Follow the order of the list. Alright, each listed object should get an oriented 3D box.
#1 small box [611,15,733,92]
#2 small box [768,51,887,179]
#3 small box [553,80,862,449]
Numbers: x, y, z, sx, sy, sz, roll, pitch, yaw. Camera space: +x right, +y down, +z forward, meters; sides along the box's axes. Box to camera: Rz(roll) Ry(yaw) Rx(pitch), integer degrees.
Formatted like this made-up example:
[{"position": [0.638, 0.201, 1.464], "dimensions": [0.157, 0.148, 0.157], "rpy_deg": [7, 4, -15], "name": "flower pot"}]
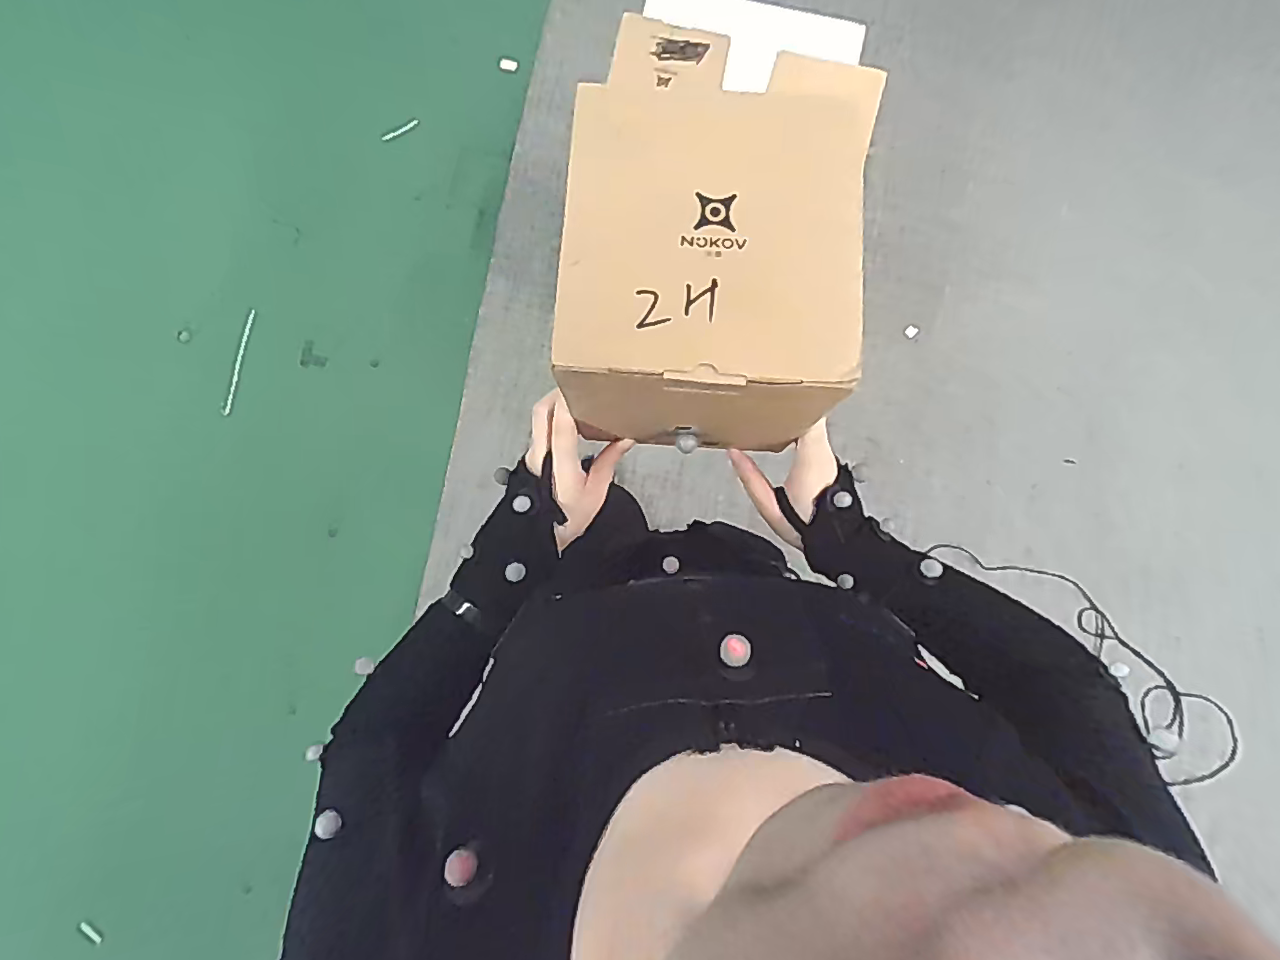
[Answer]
[{"position": [0.040, -0.581, 0.873], "dimensions": [0.168, 0.176, 0.179], "rpy_deg": [13, 88, 1], "name": "small box"}, {"position": [0.264, -0.523, 0.866], "dimensions": [0.168, 0.176, 0.179], "rpy_deg": [14, 87, 3], "name": "small box"}, {"position": [0.041, -0.130, 0.381], "dimensions": [0.168, 0.176, 0.179], "rpy_deg": [4, 81, 2], "name": "small box"}]
